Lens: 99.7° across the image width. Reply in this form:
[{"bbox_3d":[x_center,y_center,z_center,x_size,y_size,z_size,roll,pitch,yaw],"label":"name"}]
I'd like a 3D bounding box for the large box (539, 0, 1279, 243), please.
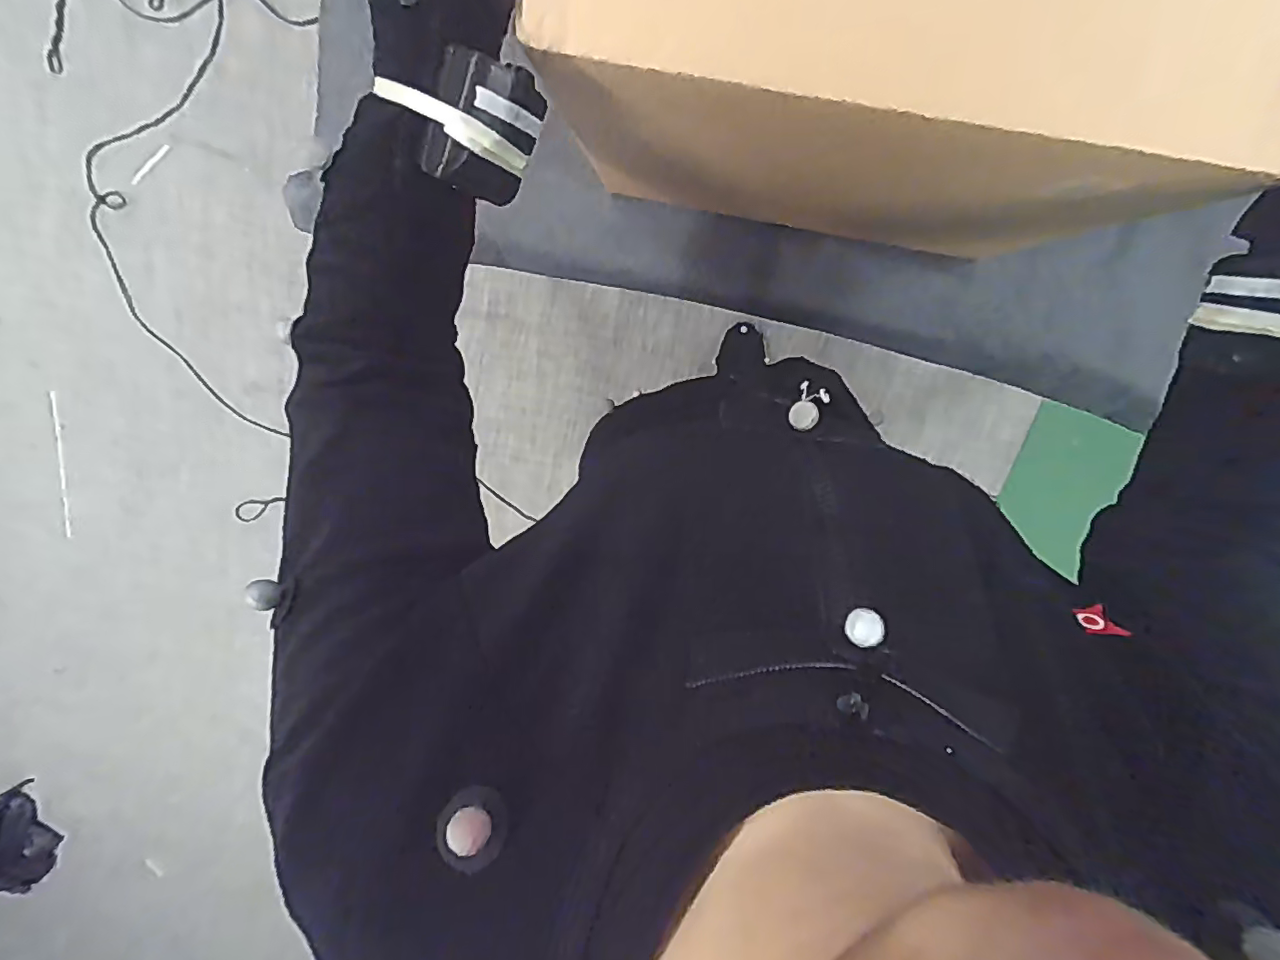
[{"bbox_3d":[0.172,-0.381,0.381,0.408,0.320,0.320,11,107,1],"label":"large box"}]
